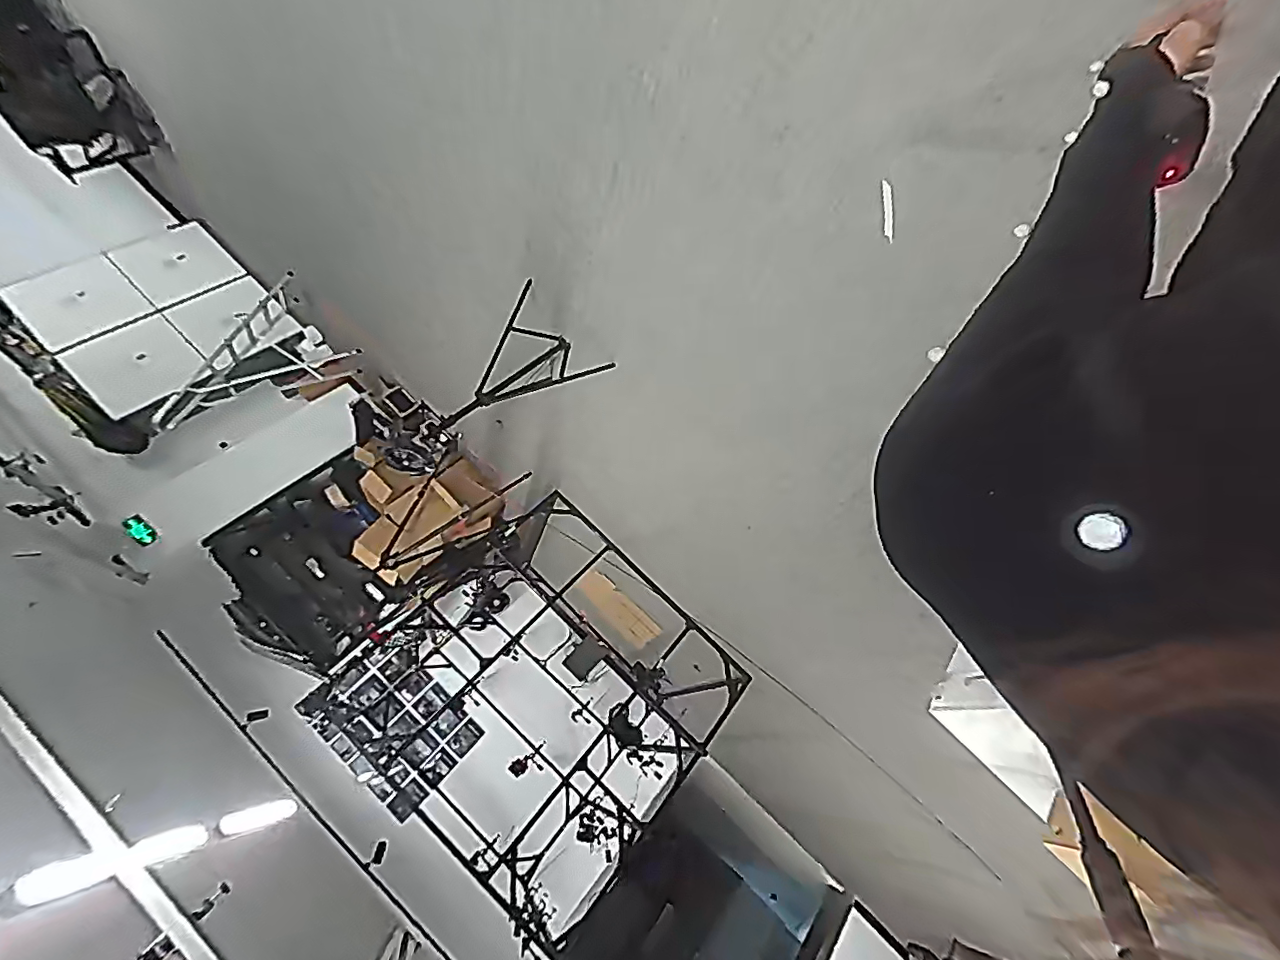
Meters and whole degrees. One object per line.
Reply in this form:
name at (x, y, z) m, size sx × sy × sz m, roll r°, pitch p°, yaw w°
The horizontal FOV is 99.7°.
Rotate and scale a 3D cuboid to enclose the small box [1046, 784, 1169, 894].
small box at (1.251, 0.947, 1.447) m, size 0.168 × 0.176 × 0.179 m, roll 43°, pitch 152°, yaw 5°
